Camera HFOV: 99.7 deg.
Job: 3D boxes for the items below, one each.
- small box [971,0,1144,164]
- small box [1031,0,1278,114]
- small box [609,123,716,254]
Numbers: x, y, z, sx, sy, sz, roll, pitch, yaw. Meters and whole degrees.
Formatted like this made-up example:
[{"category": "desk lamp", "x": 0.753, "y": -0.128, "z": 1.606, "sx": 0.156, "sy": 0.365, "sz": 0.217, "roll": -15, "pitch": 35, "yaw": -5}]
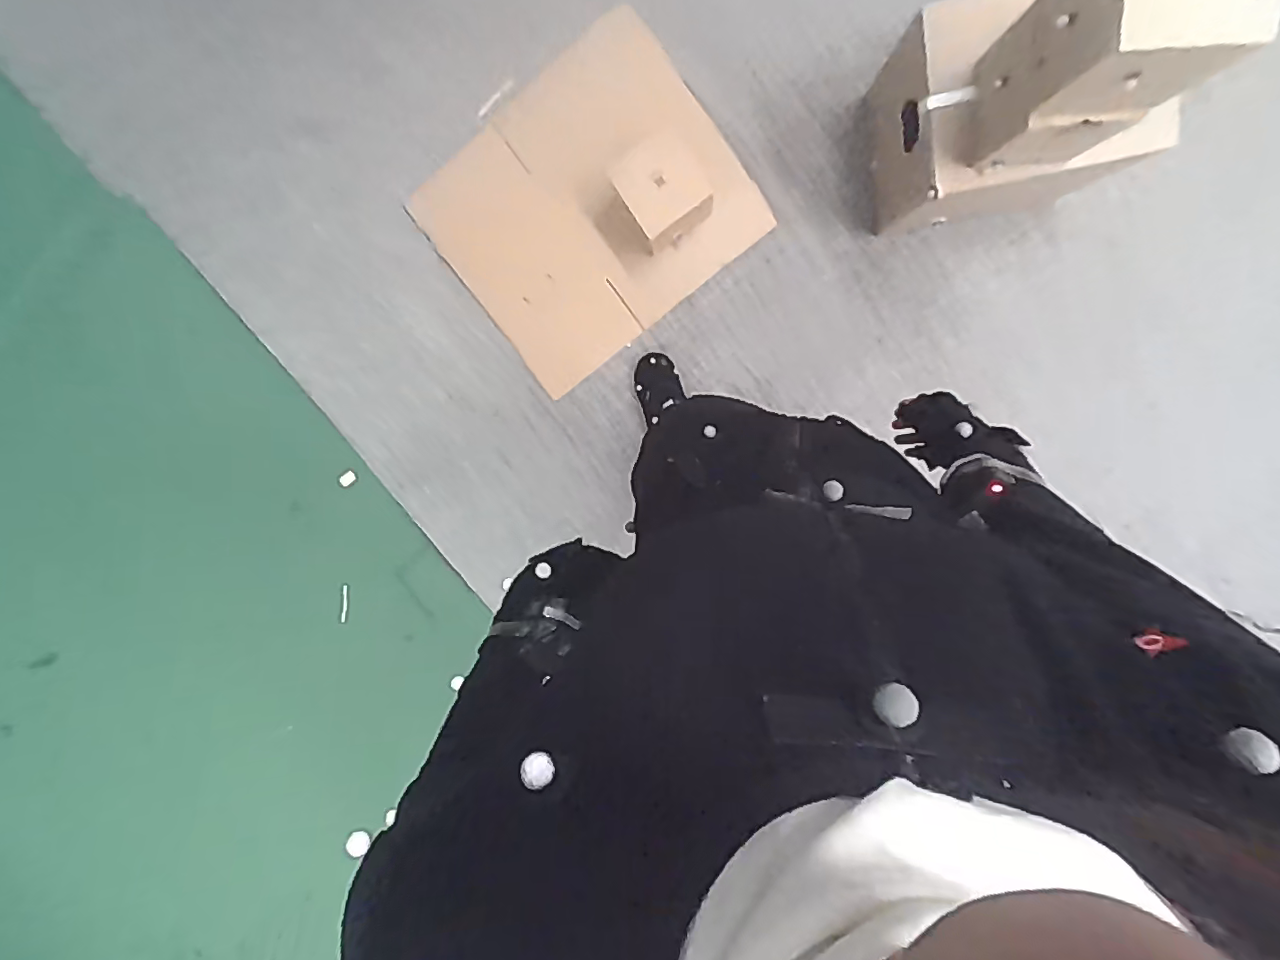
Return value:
[{"category": "small box", "x": 0.651, "y": -0.621, "z": 0.853, "sx": 0.168, "sy": 0.176, "sz": 0.179, "roll": -2, "pitch": 101, "yaw": 6}, {"category": "small box", "x": 0.642, "y": -0.601, "z": 0.693, "sx": 0.179, "sy": 0.176, "sz": 0.168, "roll": -3, "pitch": 99, "yaw": 5}, {"category": "small box", "x": 0.053, "y": -0.637, "z": 1.209, "sx": 0.168, "sy": 0.176, "sz": 0.179, "roll": -34, "pitch": 96, "yaw": 12}]
